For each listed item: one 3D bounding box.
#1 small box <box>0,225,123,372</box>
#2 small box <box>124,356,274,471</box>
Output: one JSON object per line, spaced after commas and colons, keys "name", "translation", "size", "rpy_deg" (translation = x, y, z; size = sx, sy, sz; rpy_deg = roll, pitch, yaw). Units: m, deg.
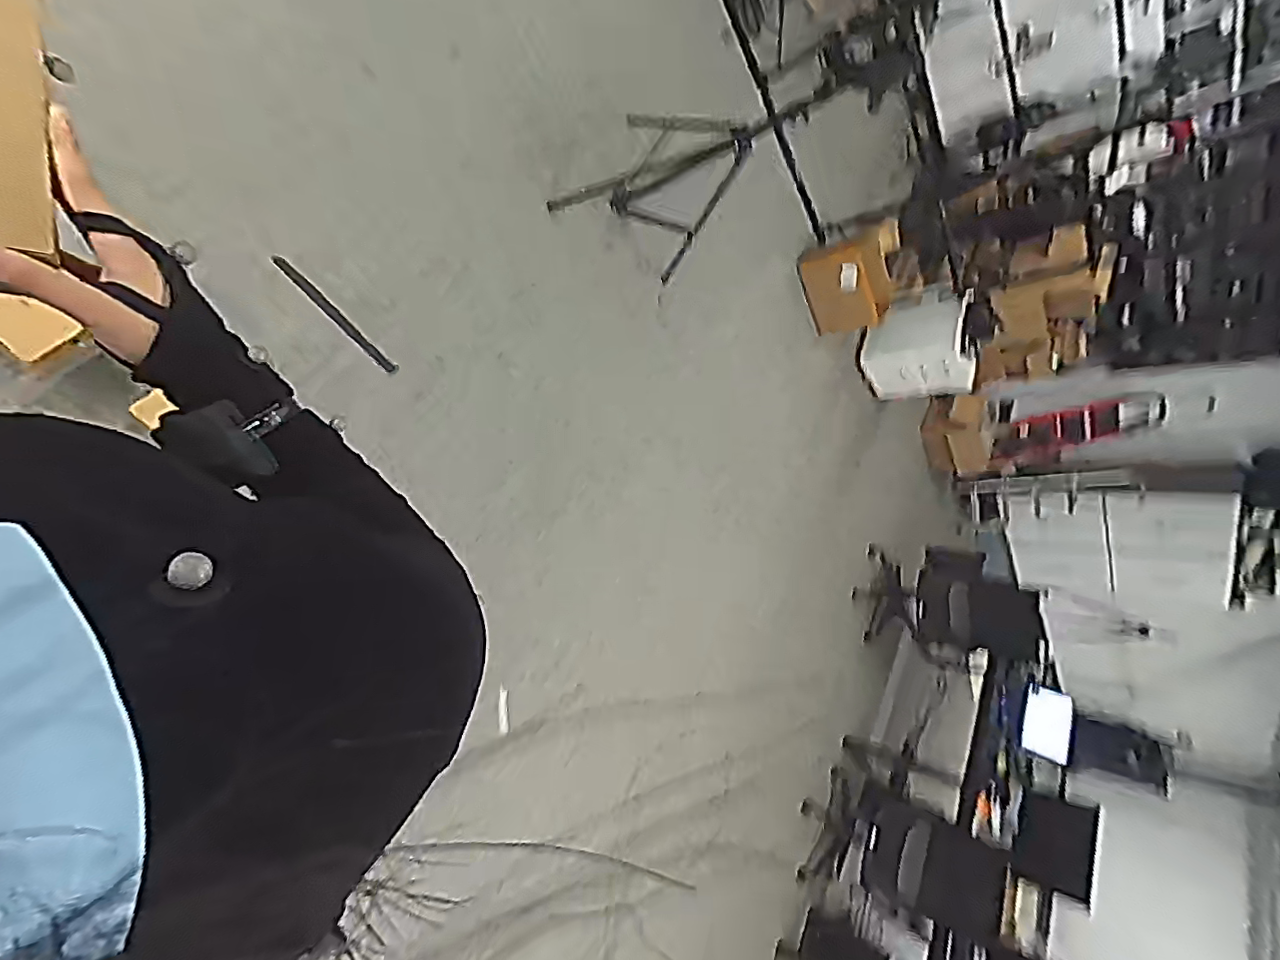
{"name": "small box", "translation": [-1.085, -0.315, 0.962], "size": [0.168, 0.176, 0.179], "rpy_deg": [53, 56, -31]}
{"name": "small box", "translation": [-0.917, -0.132, 1.128], "size": [0.179, 0.176, 0.168], "rpy_deg": [-54, 125, -31]}
